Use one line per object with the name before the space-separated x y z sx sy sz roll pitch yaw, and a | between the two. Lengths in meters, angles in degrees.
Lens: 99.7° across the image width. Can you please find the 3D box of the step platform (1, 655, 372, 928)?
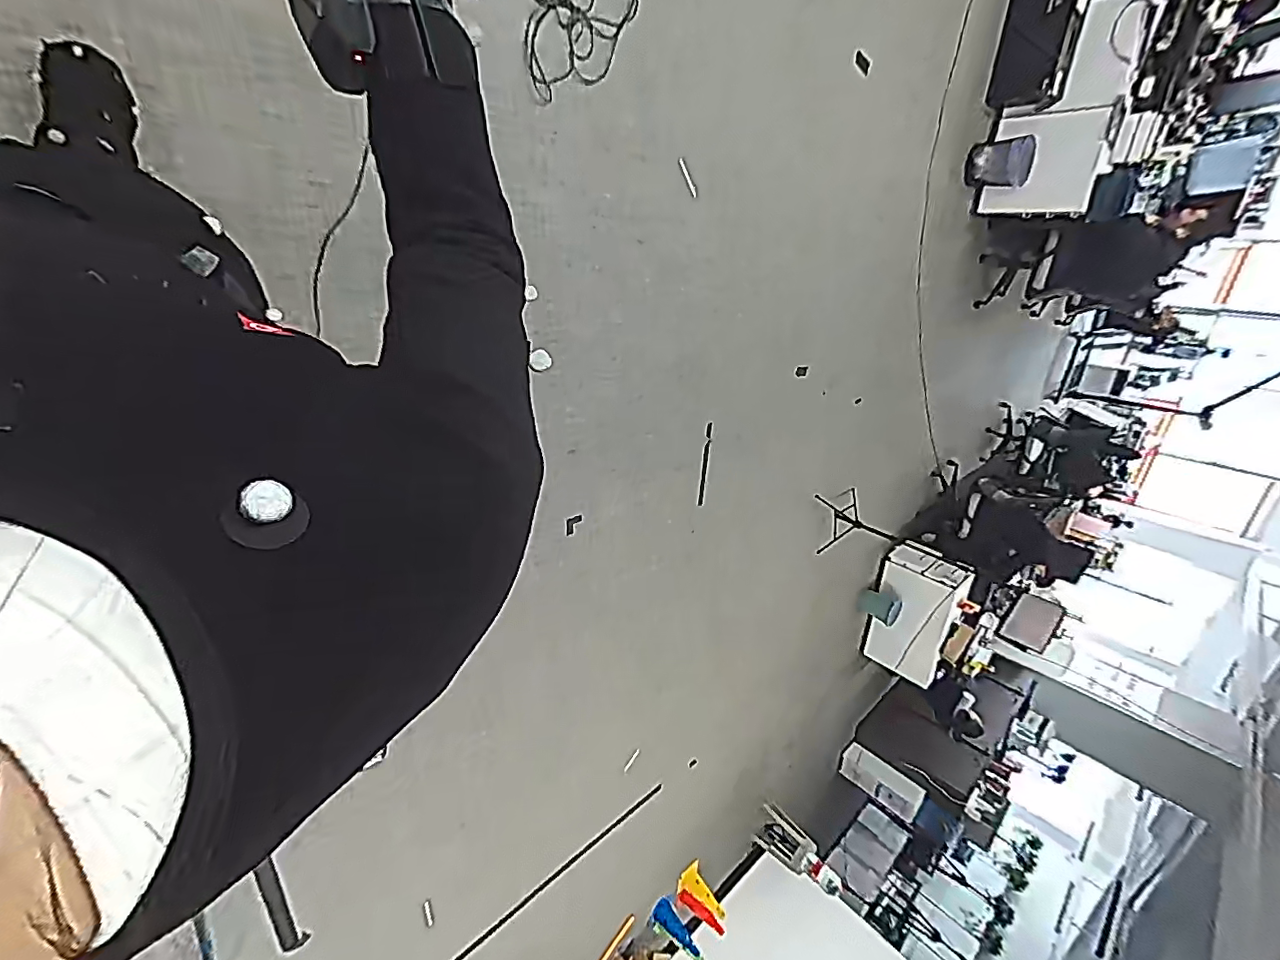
step platform | -1.042 0.723 1.332 0.684 0.204 0.286 -18 121 -37
